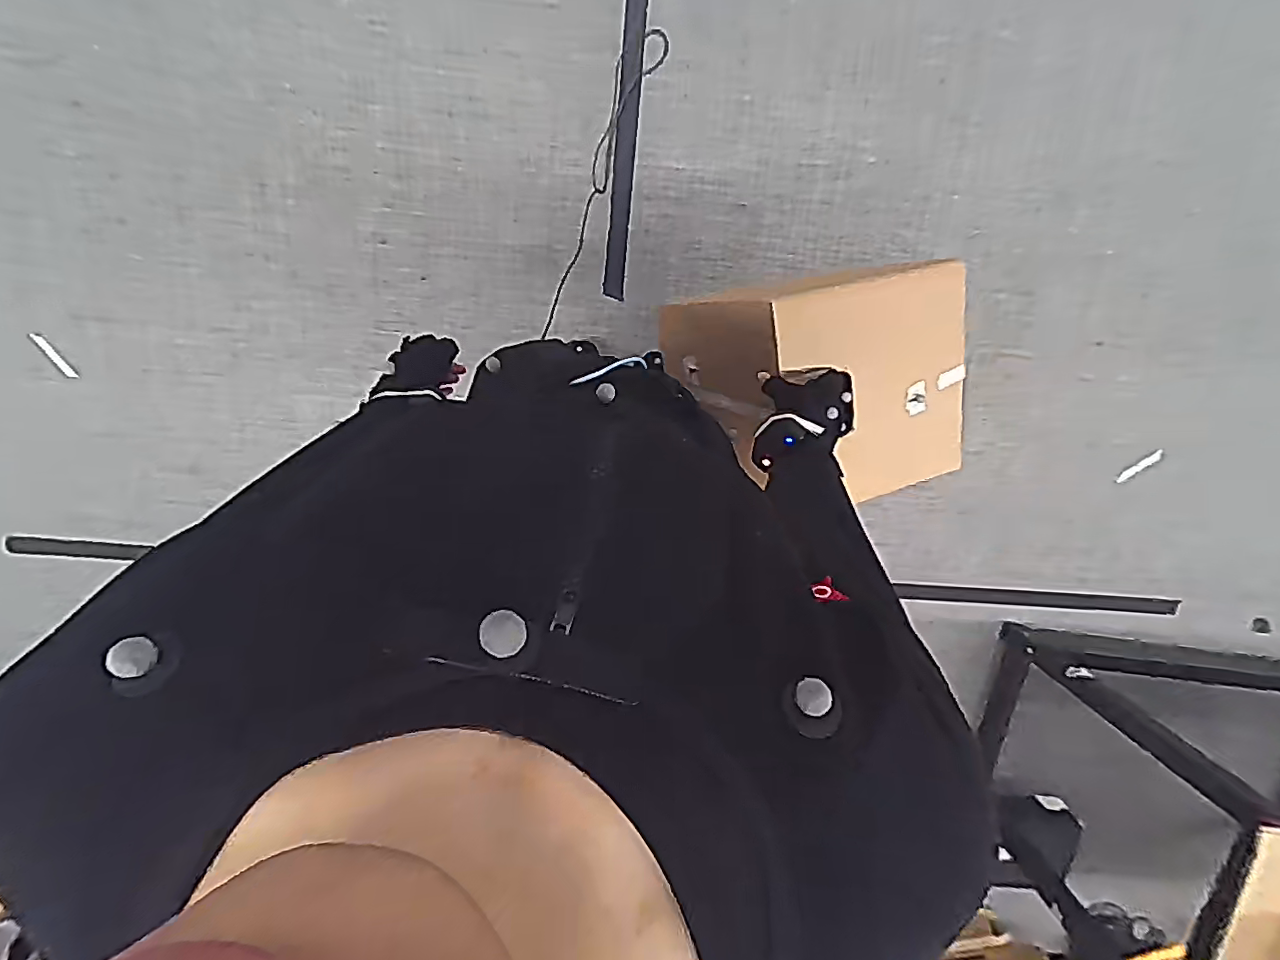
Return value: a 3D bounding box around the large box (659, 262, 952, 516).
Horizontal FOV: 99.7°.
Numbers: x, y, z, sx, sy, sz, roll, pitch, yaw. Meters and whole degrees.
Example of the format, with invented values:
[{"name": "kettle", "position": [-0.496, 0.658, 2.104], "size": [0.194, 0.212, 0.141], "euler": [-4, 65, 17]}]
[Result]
[{"name": "large box", "position": [0.266, -0.176, 0.951], "size": [0.320, 0.408, 0.320], "euler": [-16, 110, -14]}]
